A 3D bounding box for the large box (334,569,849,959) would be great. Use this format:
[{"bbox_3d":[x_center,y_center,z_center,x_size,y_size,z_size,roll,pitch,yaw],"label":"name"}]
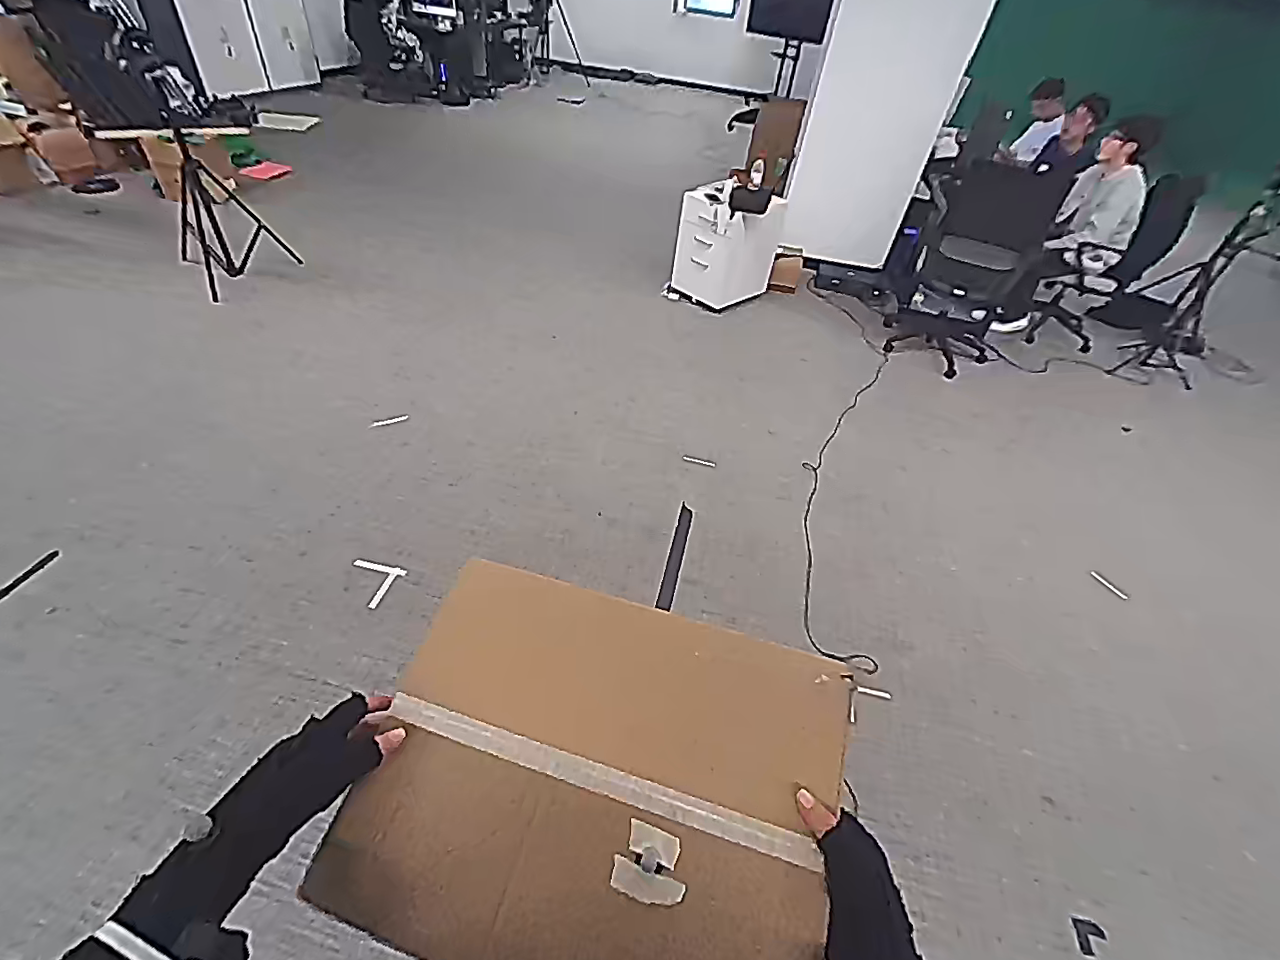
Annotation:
[{"bbox_3d":[-0.020,0.339,0.615,0.408,0.320,0.320,13,62,13],"label":"large box"}]
